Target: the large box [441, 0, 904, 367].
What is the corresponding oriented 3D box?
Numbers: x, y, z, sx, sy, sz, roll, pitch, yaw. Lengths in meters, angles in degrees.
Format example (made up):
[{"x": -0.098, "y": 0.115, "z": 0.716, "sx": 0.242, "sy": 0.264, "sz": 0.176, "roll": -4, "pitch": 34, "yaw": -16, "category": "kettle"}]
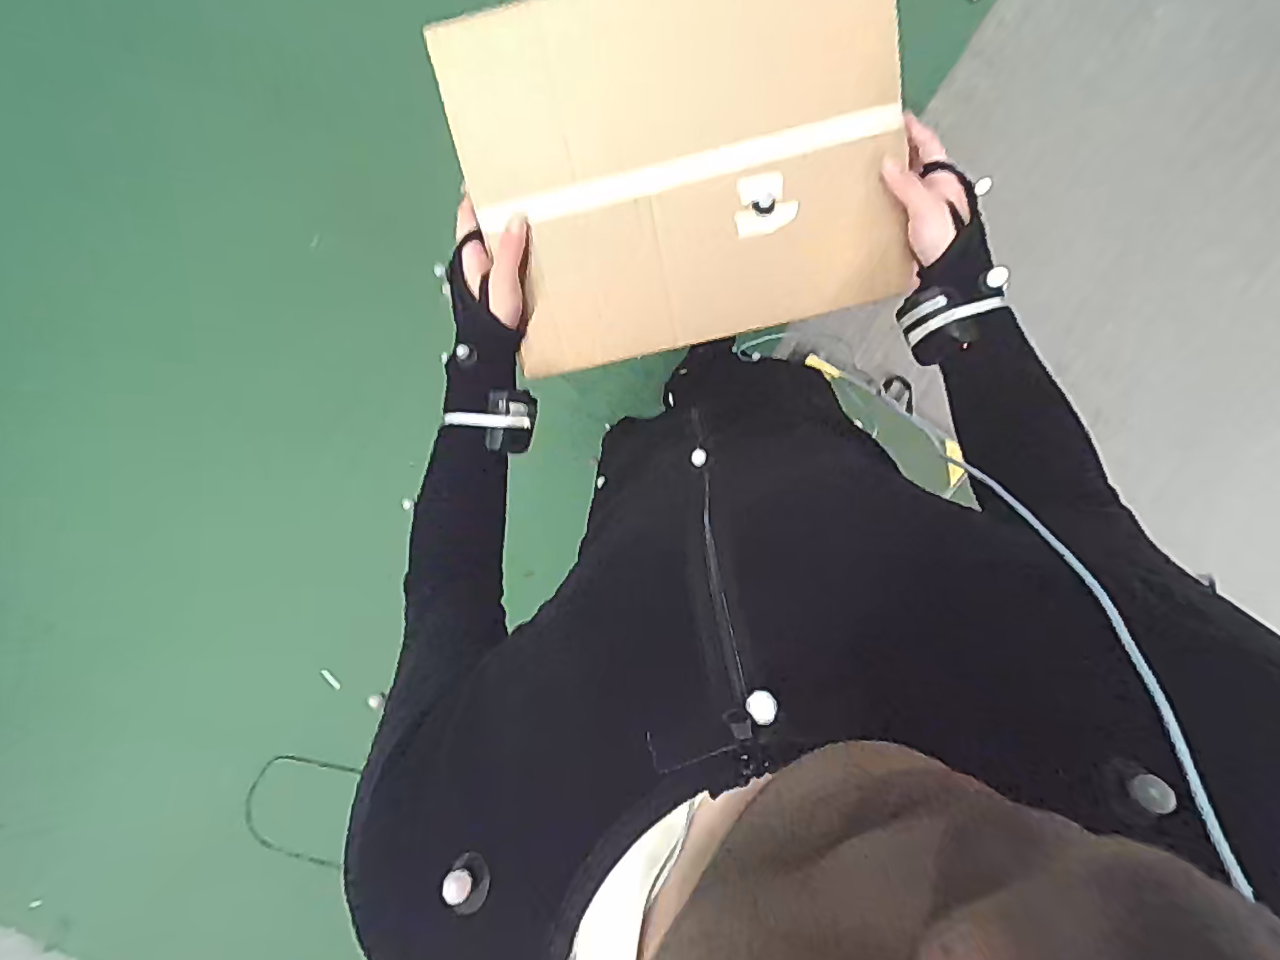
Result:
[{"x": 0.042, "y": -0.346, "z": 0.657, "sx": 0.408, "sy": 0.320, "sz": 0.320, "roll": -12, "pitch": 109, "yaw": 3, "category": "large box"}]
